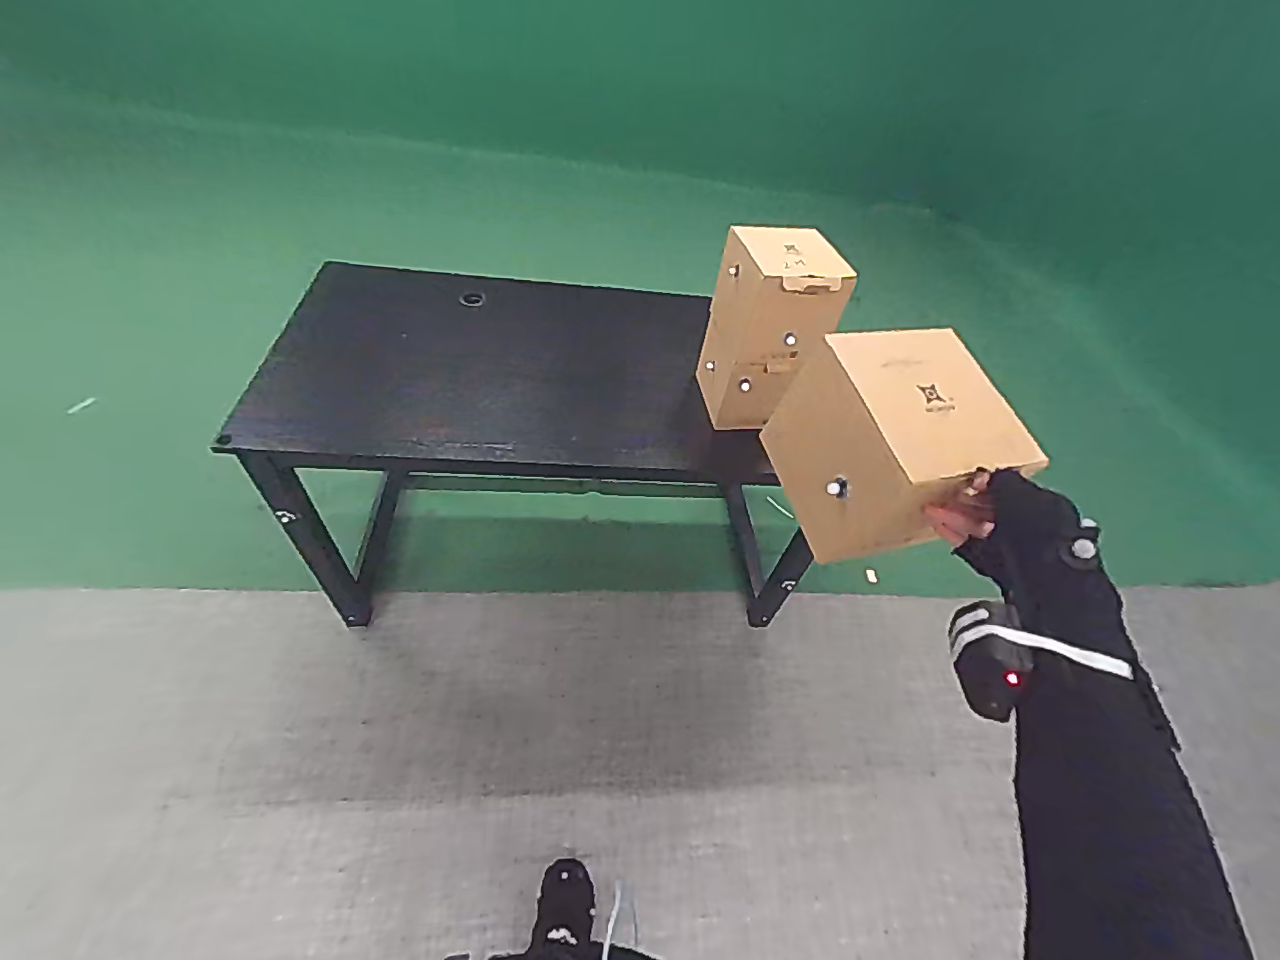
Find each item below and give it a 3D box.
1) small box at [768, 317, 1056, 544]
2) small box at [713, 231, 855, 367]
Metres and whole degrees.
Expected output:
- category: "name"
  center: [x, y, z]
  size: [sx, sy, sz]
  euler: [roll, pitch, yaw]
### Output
- category: "small box"
  center: [0.262, -0.045, 0.568]
  size: [0.168, 0.176, 0.179]
  euler: [-7, 60, -18]
- category: "small box"
  center: [0.241, -0.320, 0.964]
  size: [0.168, 0.176, 0.179]
  euler: [-4, 50, -12]
